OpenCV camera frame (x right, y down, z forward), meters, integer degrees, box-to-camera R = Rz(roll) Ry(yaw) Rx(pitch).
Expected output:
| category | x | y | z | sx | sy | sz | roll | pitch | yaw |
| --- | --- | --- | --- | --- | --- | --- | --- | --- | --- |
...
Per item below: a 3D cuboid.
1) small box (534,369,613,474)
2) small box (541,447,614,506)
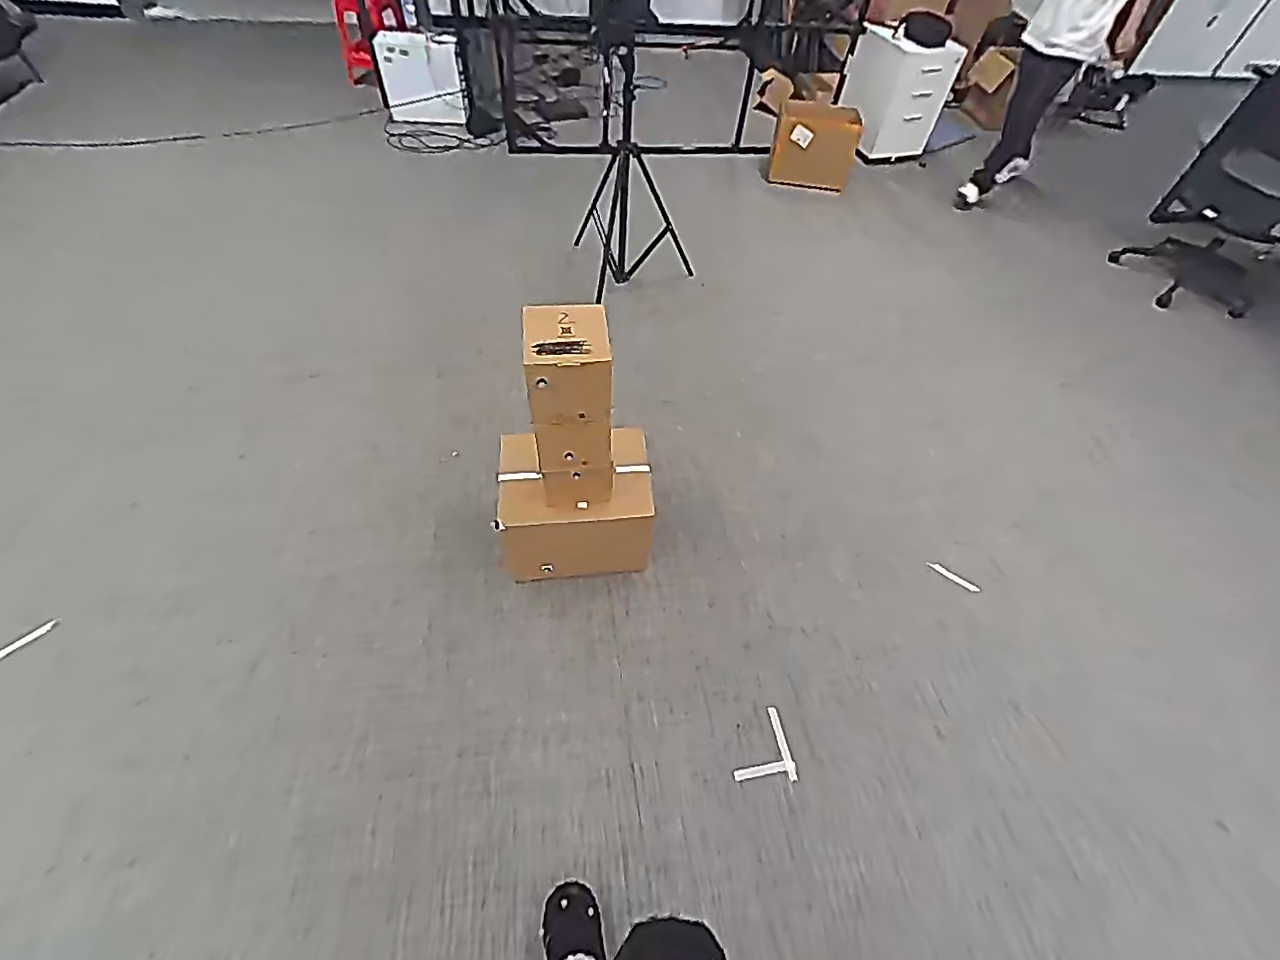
| category | x | y | z | sx | sy | sz | roll | pitch | yaw |
| --- | --- | --- | --- | --- | --- | --- | --- | --- | --- |
| small box | -0.157 | -0.136 | 1.255 | 0.168 | 0.176 | 0.179 | -5 | 55 | -8 |
| small box | -0.164 | -0.047 | 1.391 | 0.179 | 0.176 | 0.168 | -5 | 55 | -9 |
